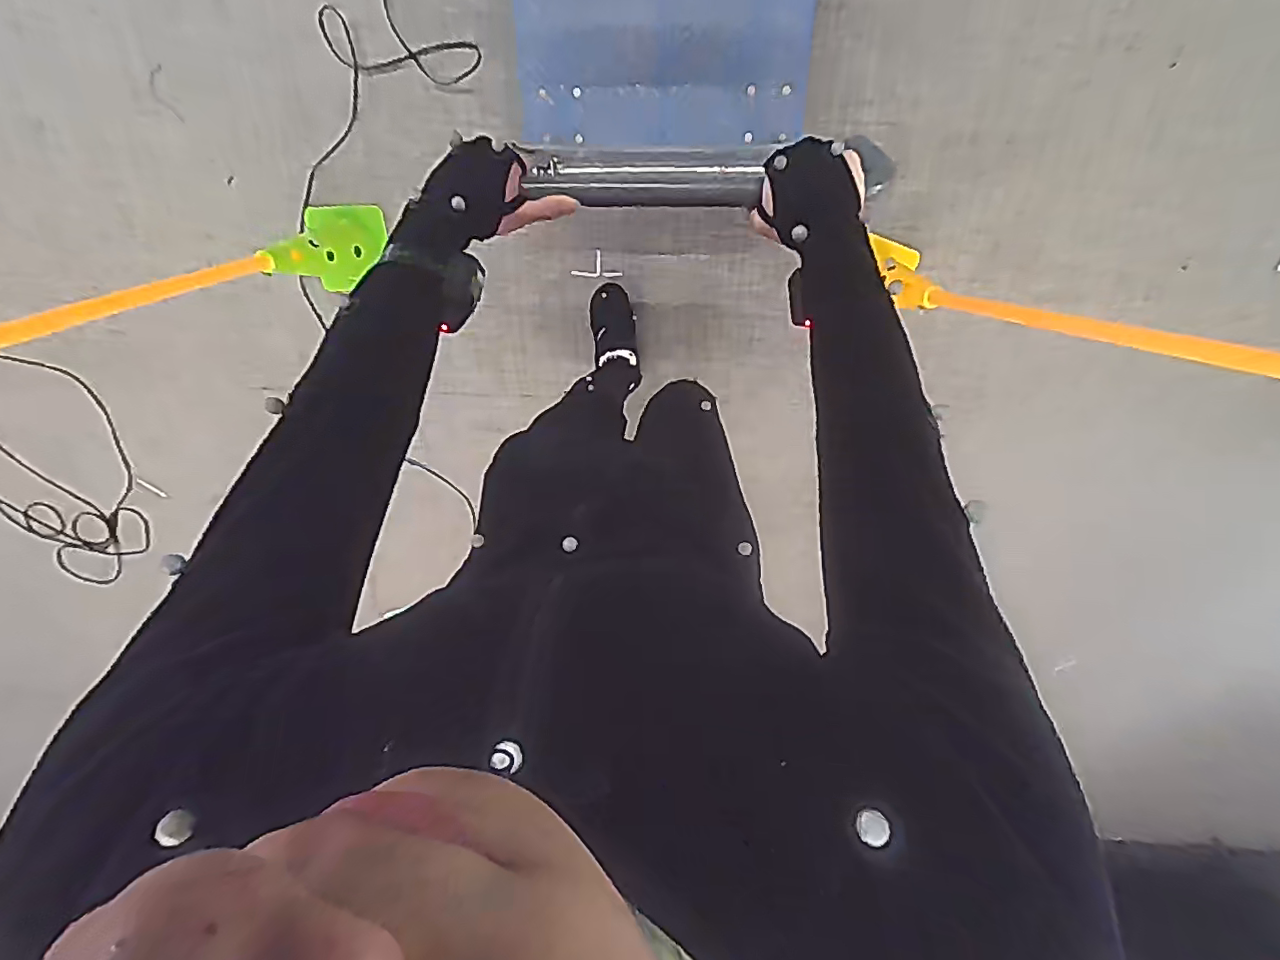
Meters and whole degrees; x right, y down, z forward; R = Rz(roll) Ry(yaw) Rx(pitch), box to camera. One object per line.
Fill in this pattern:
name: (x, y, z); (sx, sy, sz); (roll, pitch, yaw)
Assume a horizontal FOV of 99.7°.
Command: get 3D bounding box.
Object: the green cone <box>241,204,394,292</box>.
green cone: (-0.744, -0.507, 1.211); (0.202, 0.368, 0.200); (-1, 116, 3)
